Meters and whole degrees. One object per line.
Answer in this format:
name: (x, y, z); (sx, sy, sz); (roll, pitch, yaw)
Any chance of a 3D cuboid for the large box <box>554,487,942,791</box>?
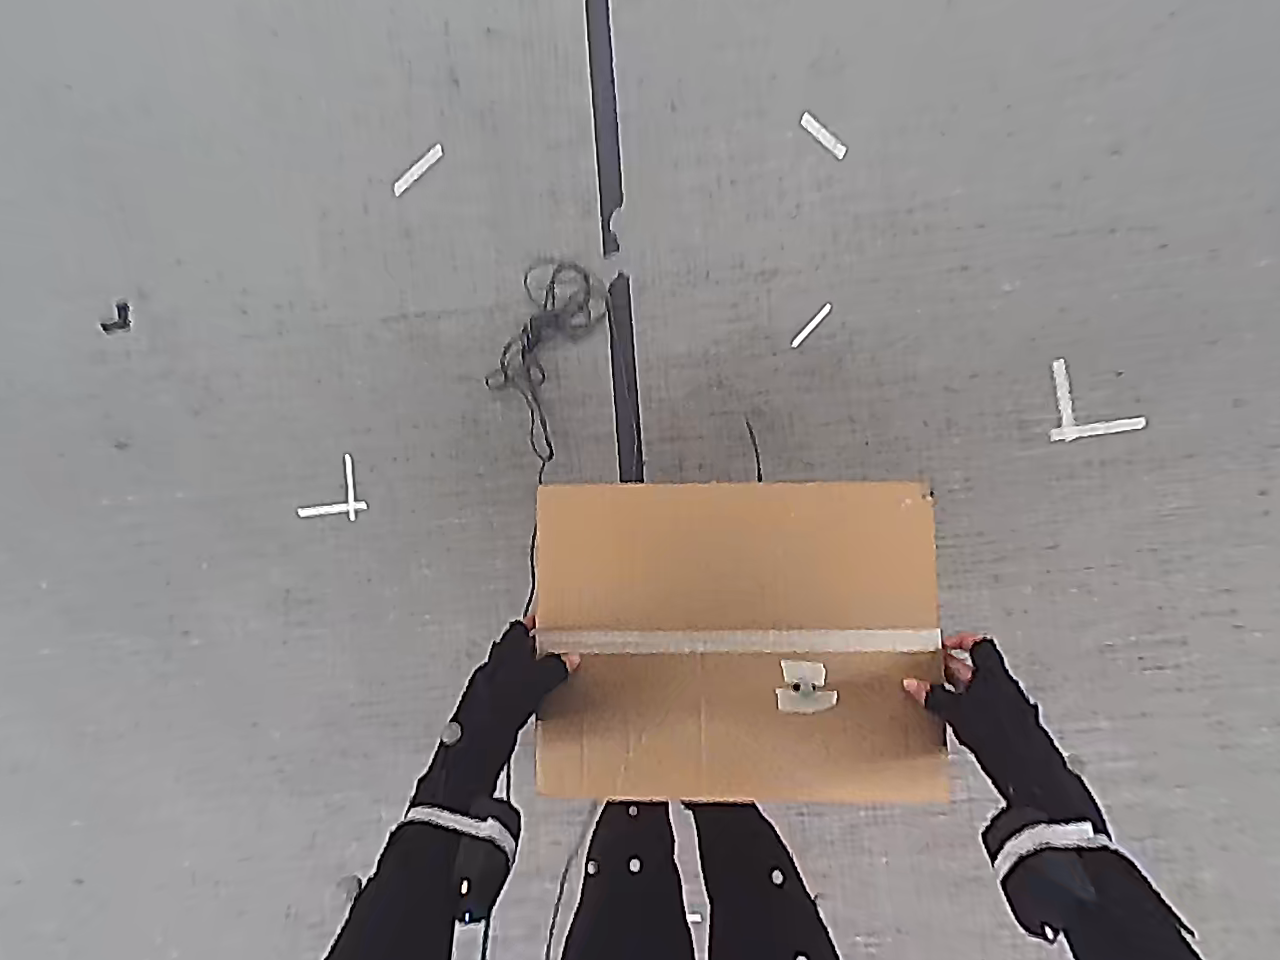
large box: (0.111, 0.178, 0.715); (0.408, 0.320, 0.320); (0, 86, 2)
